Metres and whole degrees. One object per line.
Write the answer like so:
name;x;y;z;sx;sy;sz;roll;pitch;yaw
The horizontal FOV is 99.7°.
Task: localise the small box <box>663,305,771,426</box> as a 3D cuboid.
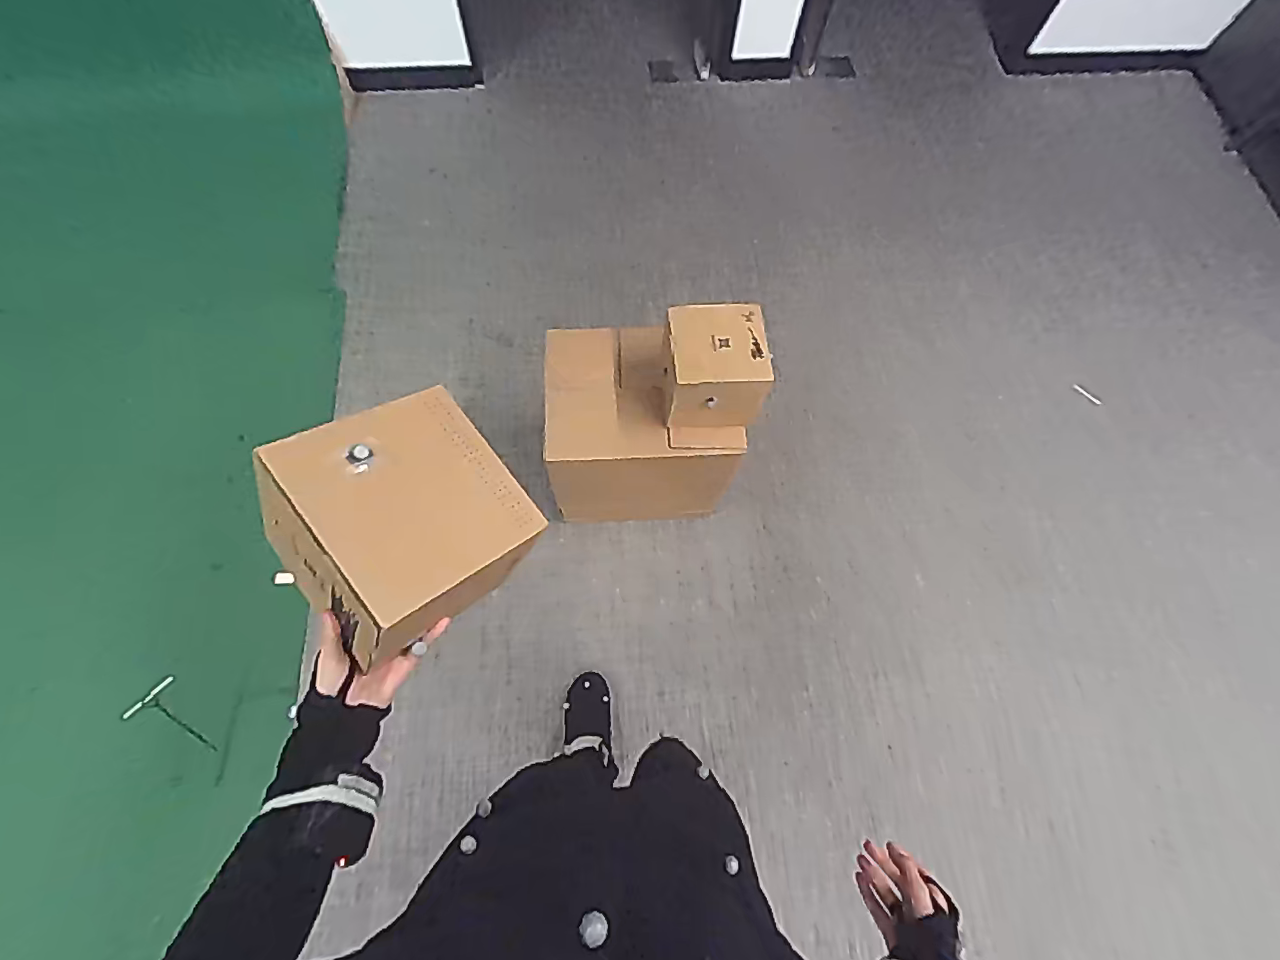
small box;0.137;-0.213;1.037;0.179;0.176;0.168;-3;70;-3
